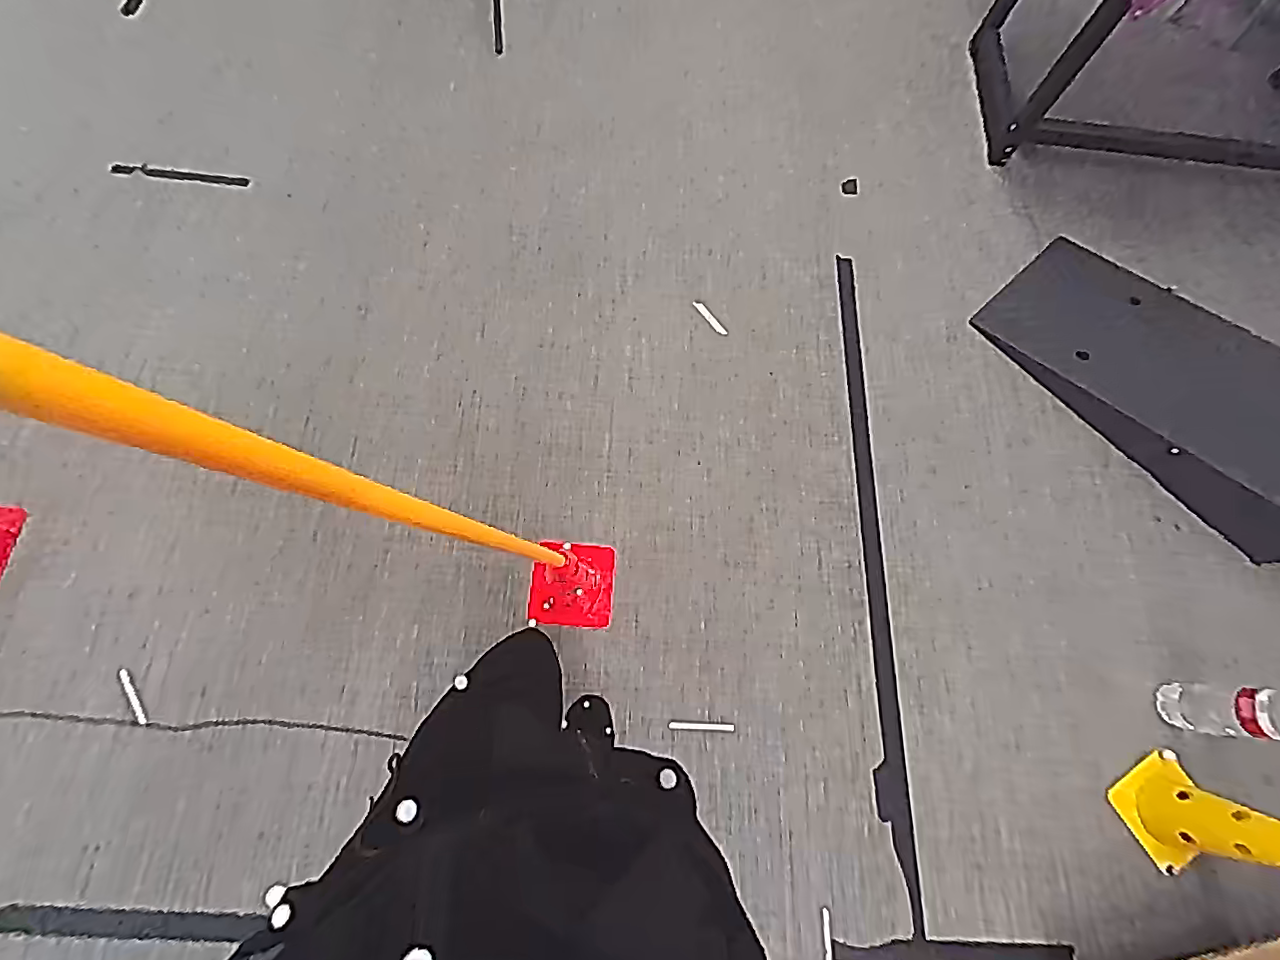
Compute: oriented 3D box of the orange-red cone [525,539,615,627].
[{"bbox_3d":[-0.157,0.196,1.138,0.199,0.360,0.198,7,73,-2],"label":"orange-red cone"}]
